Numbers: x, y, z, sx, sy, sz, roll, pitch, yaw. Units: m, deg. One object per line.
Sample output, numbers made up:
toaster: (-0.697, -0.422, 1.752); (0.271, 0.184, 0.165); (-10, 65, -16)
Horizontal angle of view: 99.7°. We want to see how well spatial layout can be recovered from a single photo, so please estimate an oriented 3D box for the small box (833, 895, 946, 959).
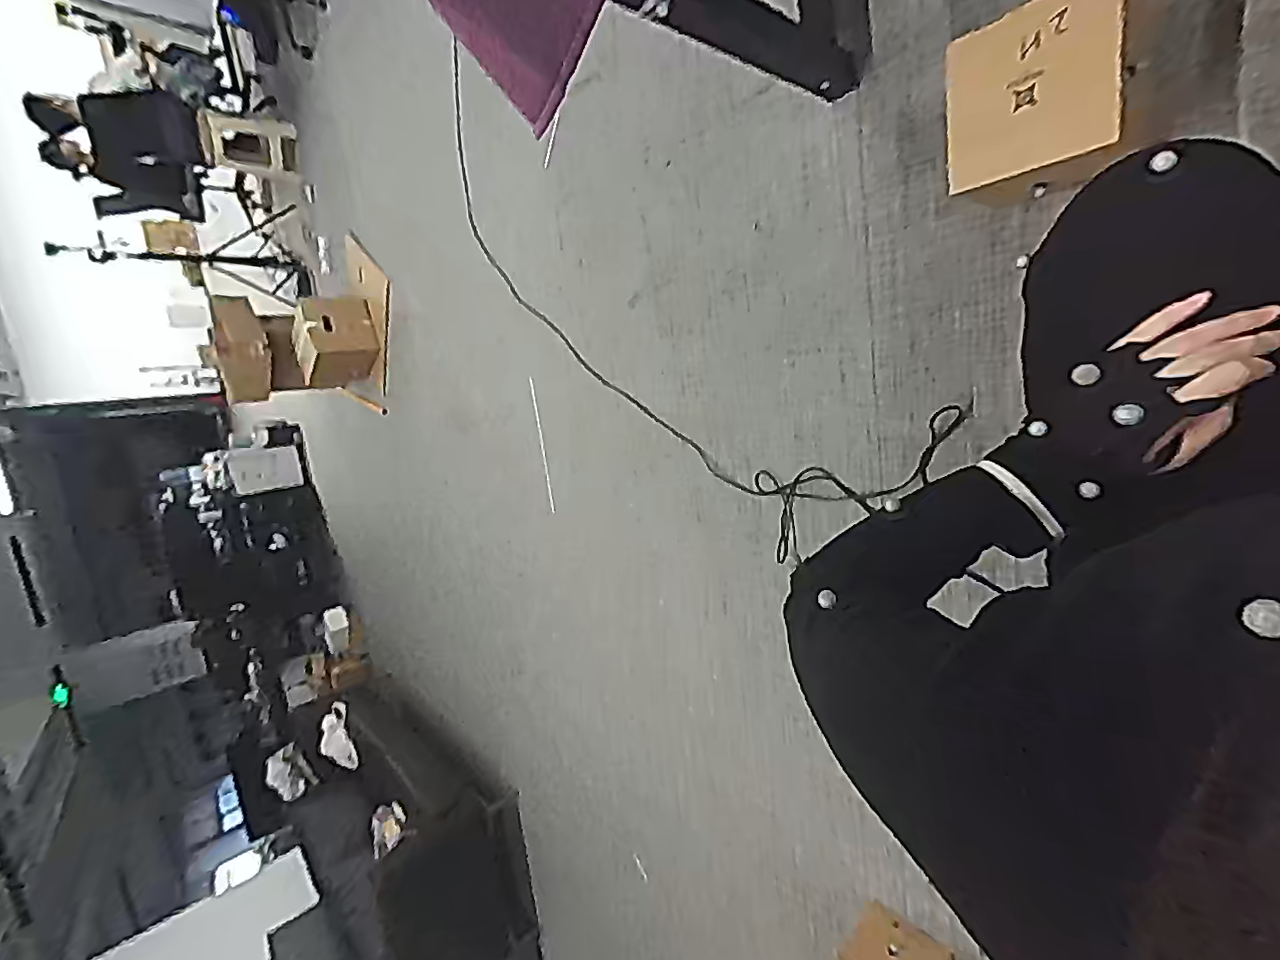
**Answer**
small box: (0.516, 1.025, 1.117); (0.168, 0.176, 0.179); (7, 106, 49)
